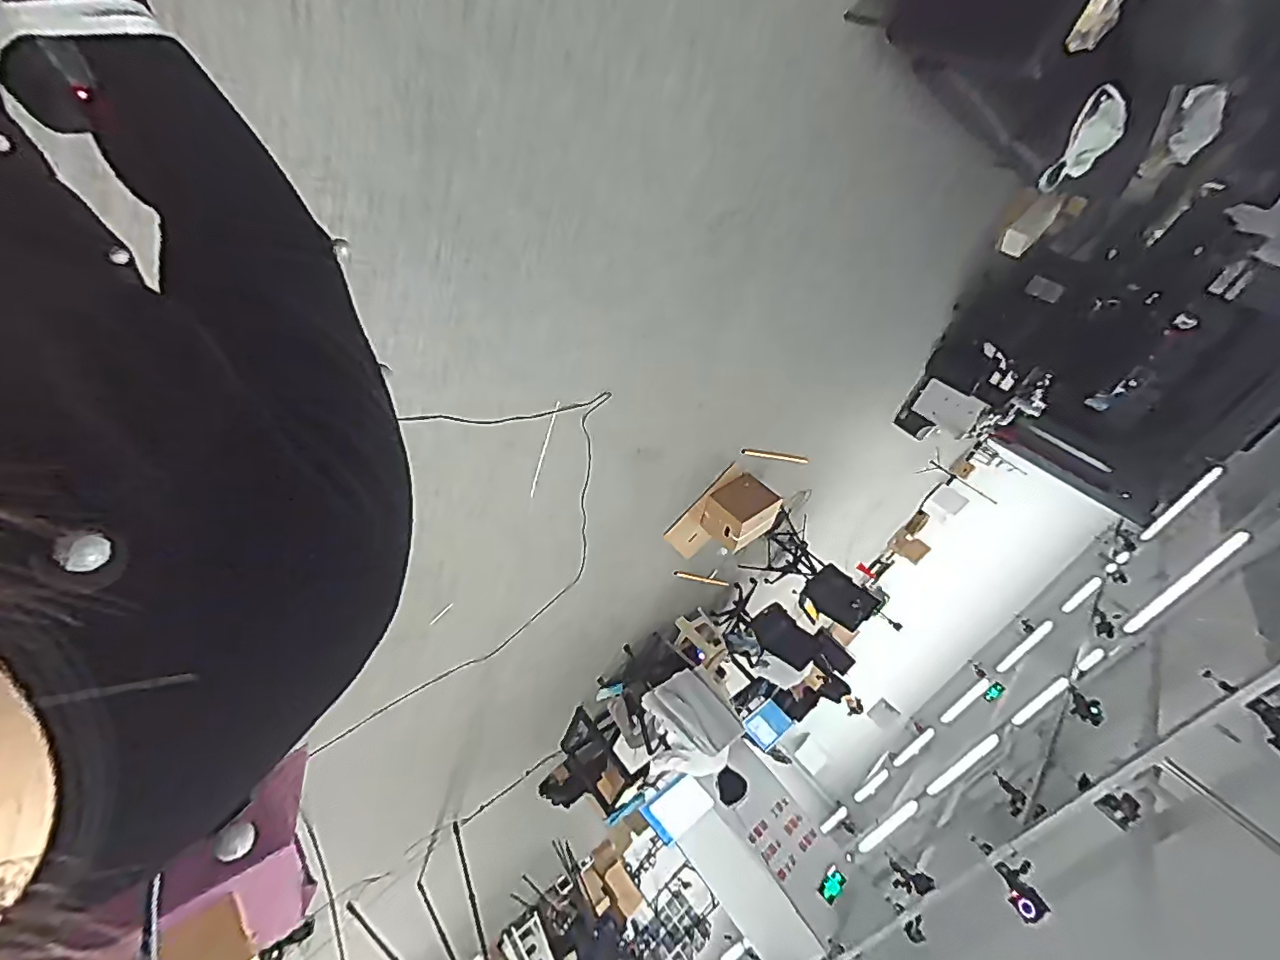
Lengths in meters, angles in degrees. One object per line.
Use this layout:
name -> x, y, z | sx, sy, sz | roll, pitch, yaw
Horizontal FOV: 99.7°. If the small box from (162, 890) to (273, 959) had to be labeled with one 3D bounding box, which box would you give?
small box -> -1.013, 1.148, 1.305 | 0.179, 0.176, 0.168 | -16, 138, -40
